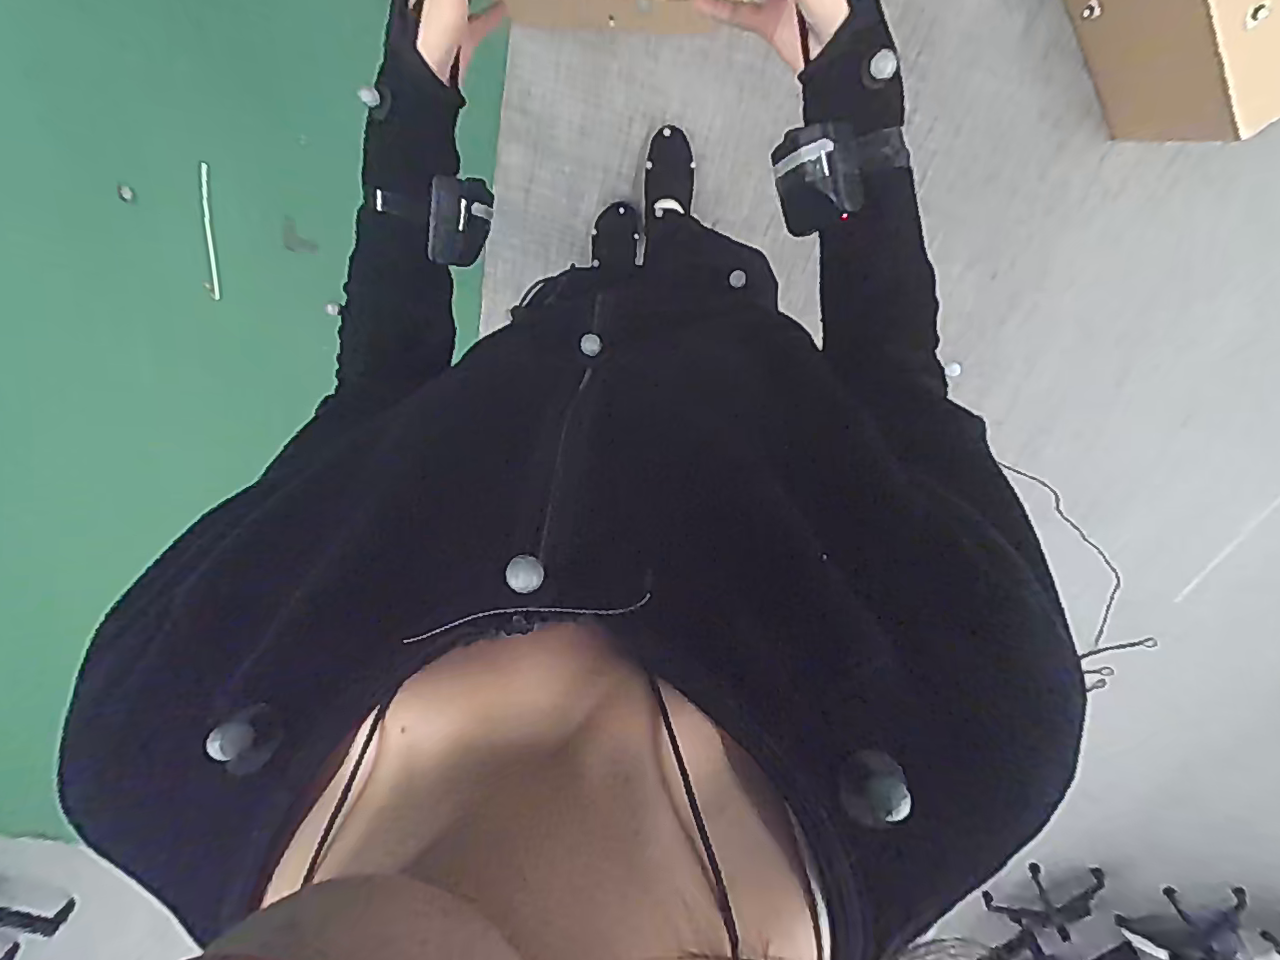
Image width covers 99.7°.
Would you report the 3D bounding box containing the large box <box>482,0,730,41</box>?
[{"bbox_3d":[-0.048,-0.965,0.915,0.408,0.320,0.320,2,120,0],"label":"large box"}]
